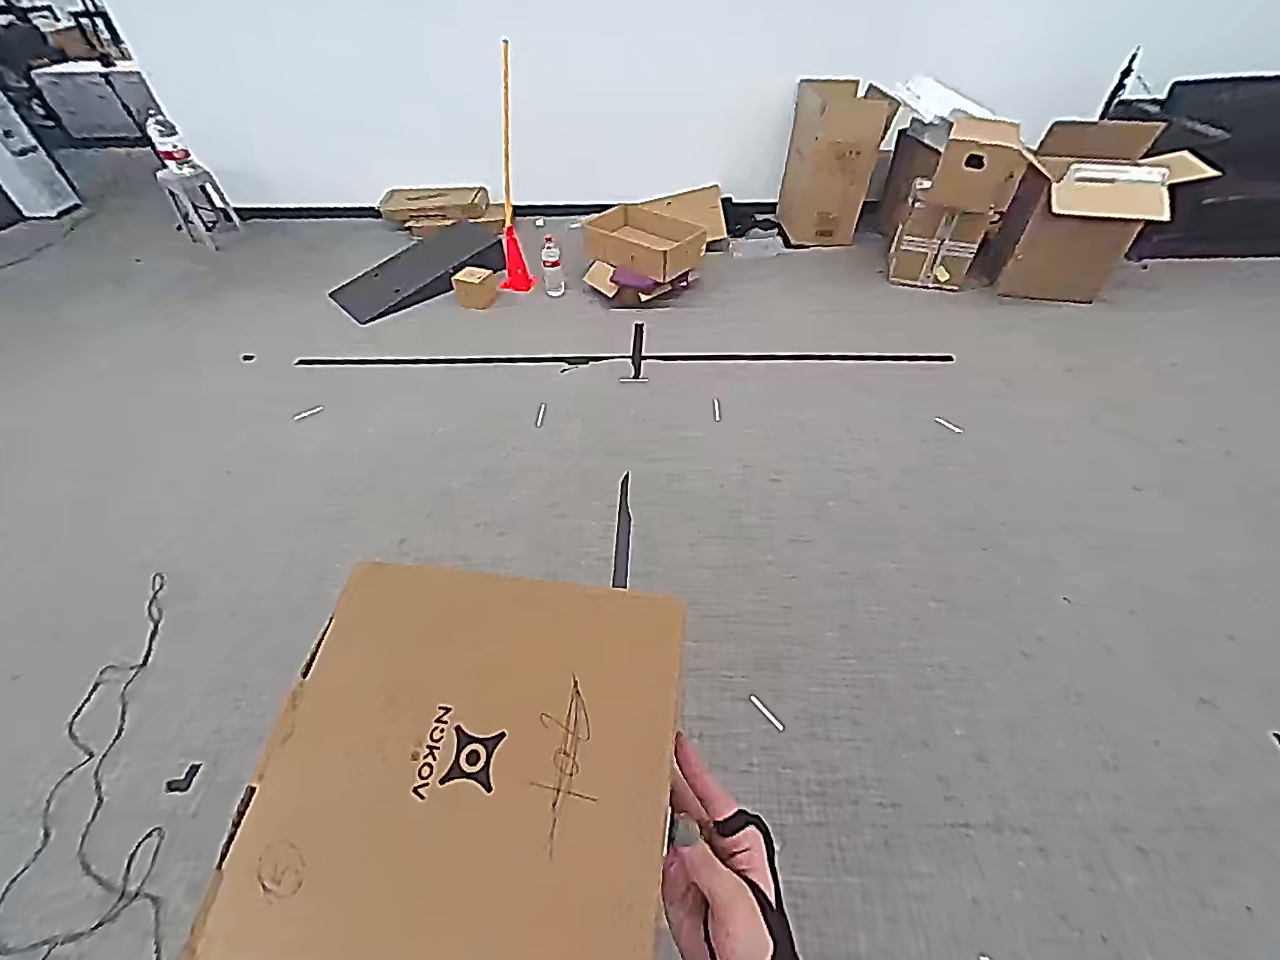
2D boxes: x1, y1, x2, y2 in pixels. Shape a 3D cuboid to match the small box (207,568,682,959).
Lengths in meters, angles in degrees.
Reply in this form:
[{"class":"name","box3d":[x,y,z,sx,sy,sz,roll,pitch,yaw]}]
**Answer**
[{"class":"small box","box3d":[-0.071,0.165,0.310,0.179,0.176,0.168,5,58,5]}]
